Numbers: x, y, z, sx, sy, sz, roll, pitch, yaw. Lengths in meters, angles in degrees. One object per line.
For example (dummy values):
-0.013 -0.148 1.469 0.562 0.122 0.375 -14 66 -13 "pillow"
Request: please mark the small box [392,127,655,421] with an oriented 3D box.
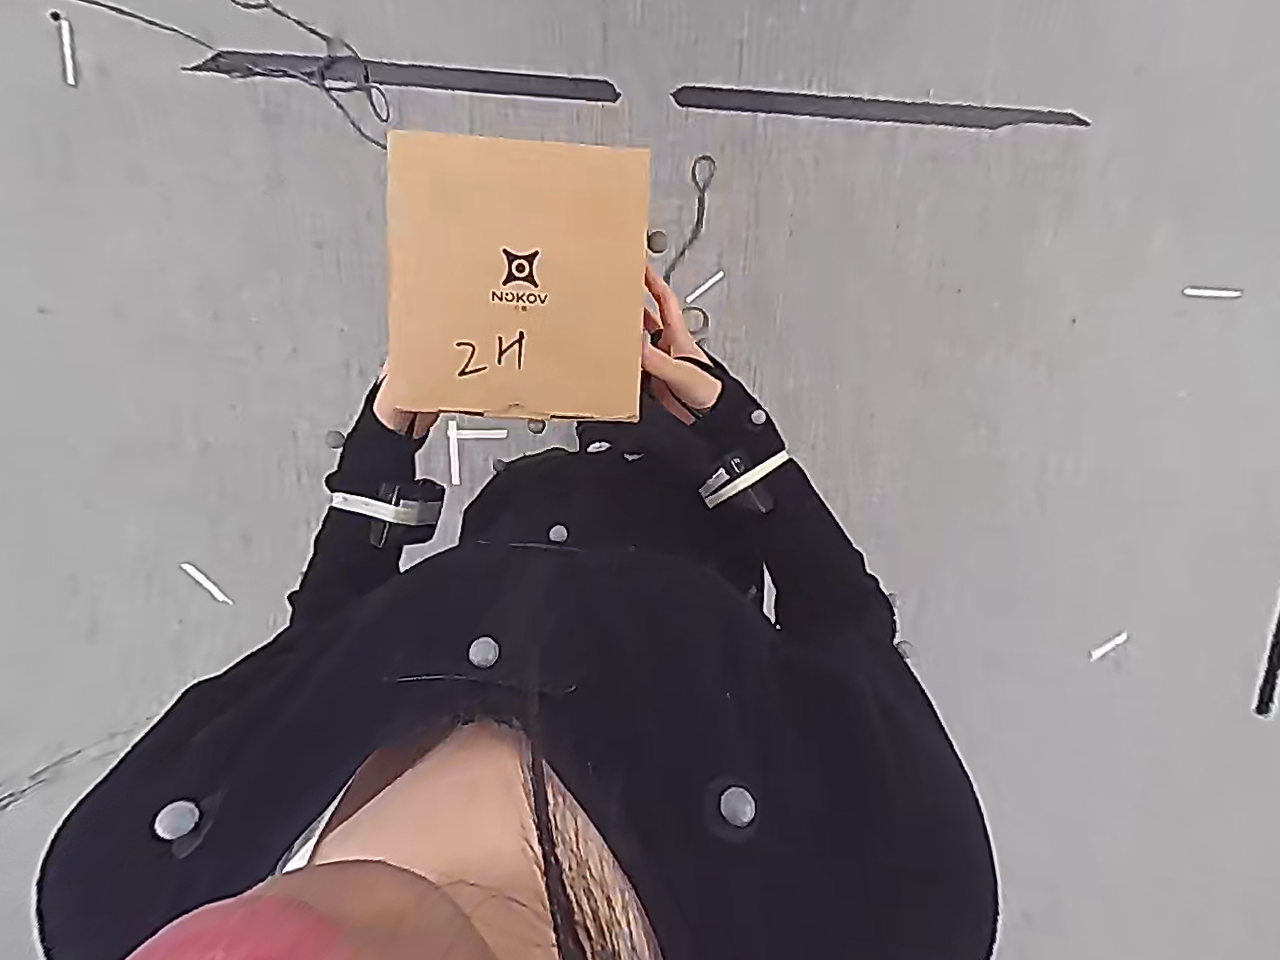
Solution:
-0.082 -0.140 0.430 0.168 0.176 0.179 3 97 -3 "small box"
